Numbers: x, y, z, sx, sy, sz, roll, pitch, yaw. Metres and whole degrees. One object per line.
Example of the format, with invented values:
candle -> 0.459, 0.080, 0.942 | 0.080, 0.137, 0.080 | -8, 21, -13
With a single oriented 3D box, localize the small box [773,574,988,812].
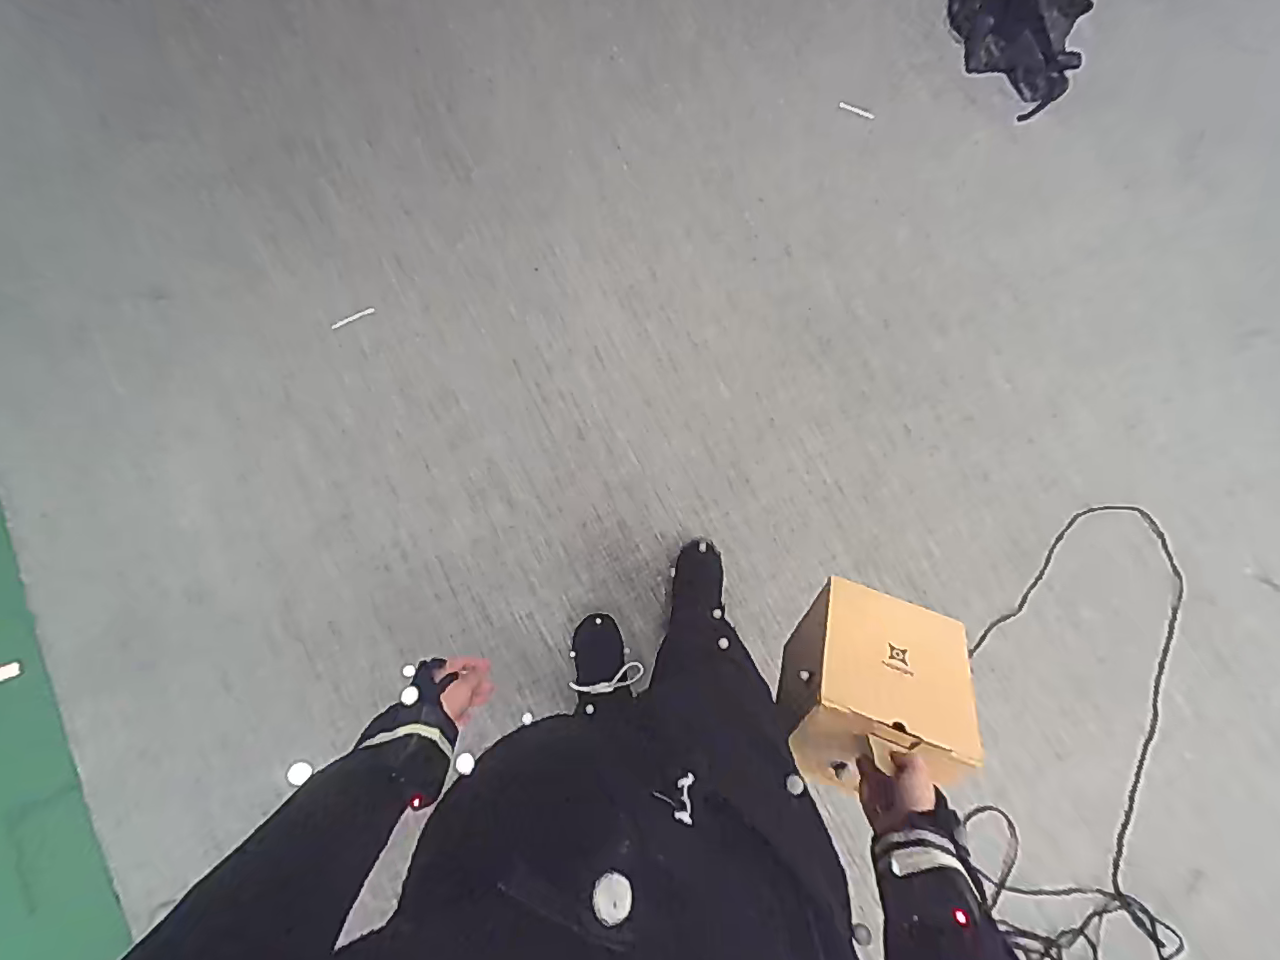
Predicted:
small box -> 0.271, 0.251, 0.643 | 0.168, 0.176, 0.179 | 20, 42, 7
